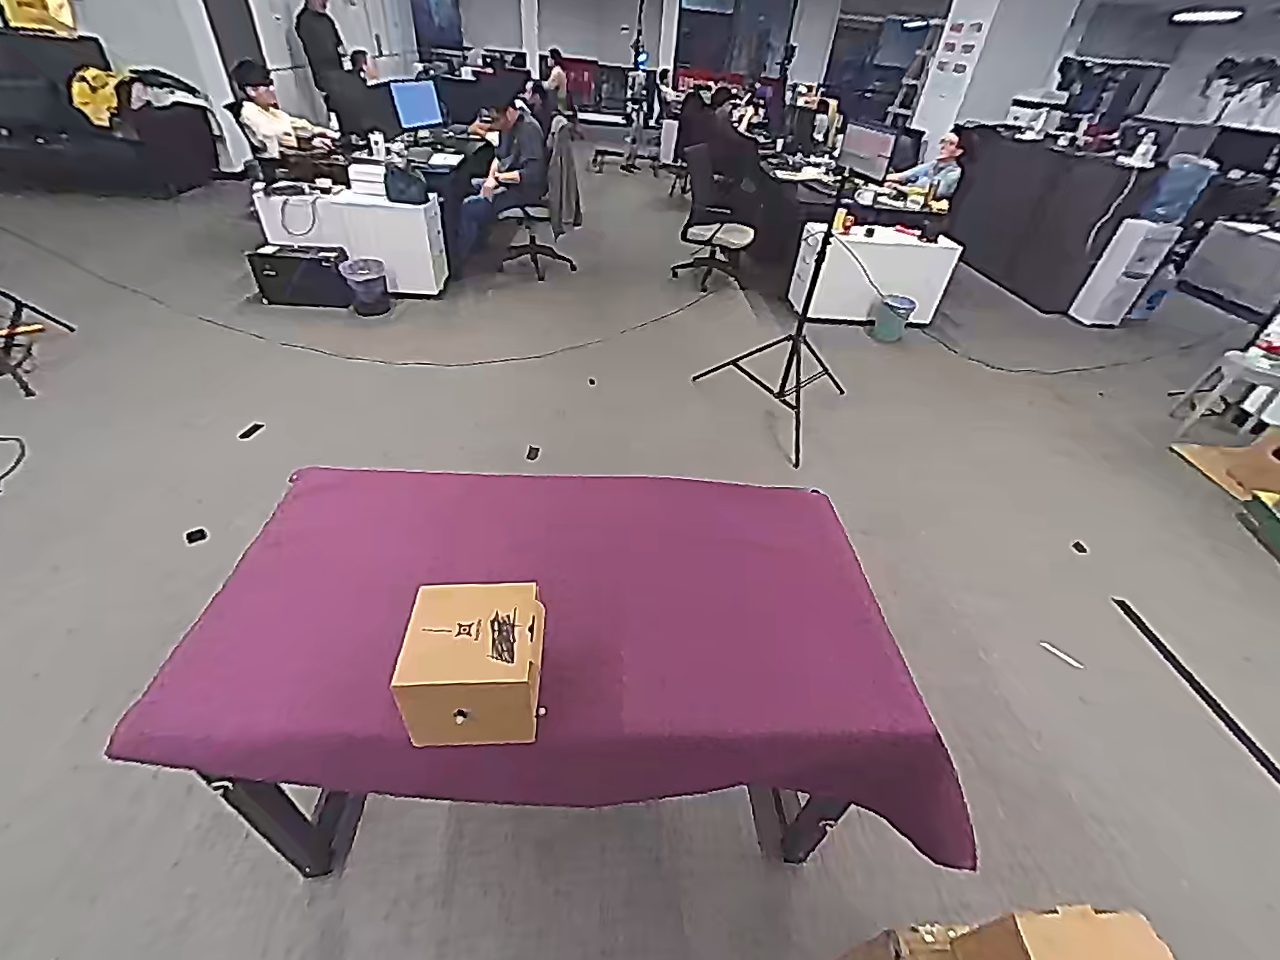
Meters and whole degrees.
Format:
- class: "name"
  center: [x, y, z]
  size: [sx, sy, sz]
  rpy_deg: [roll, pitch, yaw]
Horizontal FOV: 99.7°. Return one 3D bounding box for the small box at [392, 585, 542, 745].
- class: "small box"
  center: [-0.240, 0.275, 0.804]
  size: [0.179, 0.176, 0.168]
  rpy_deg: [0, 38, -6]
